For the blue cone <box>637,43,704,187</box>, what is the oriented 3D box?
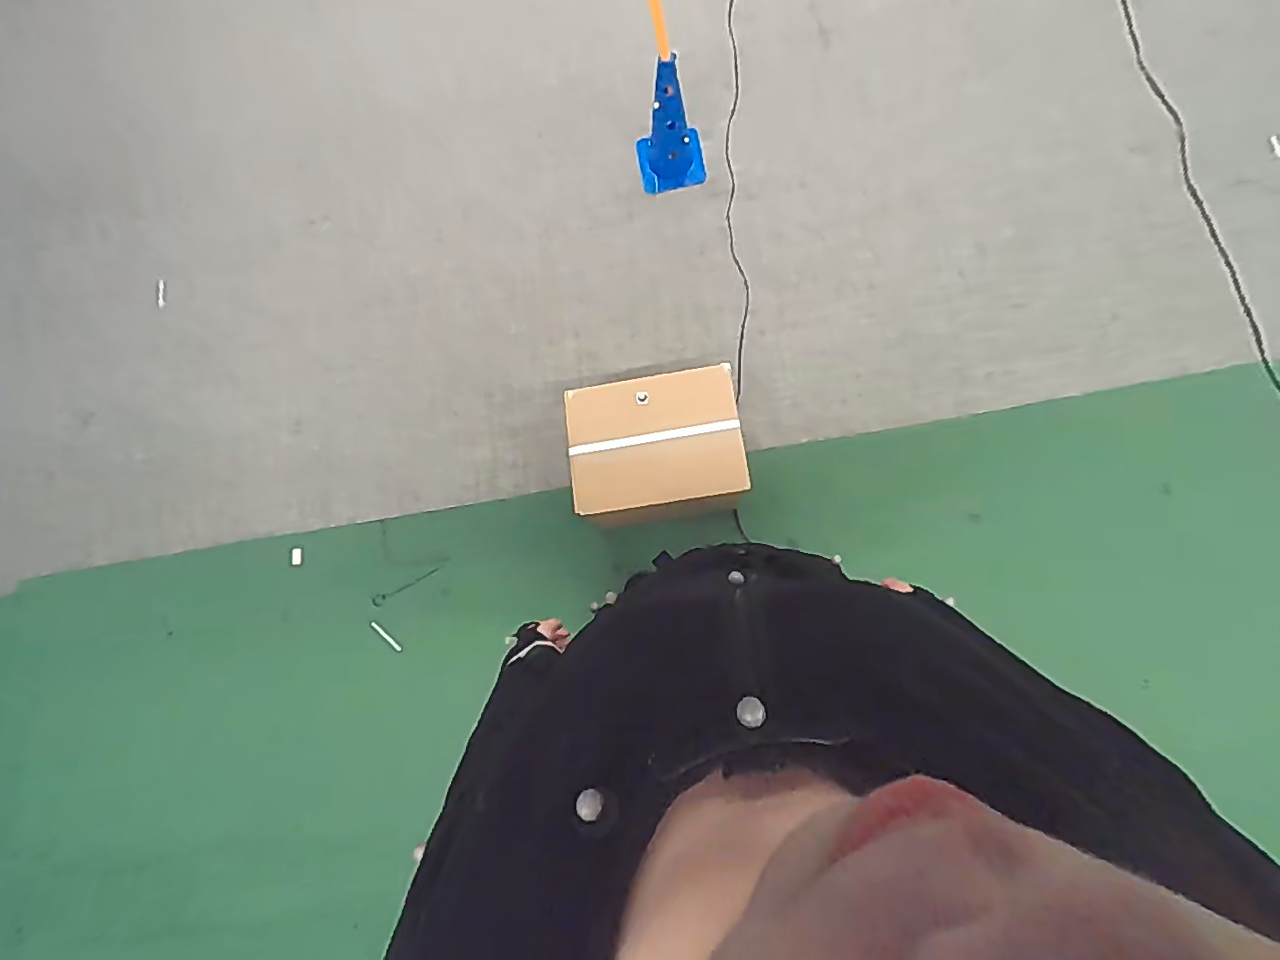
[{"bbox_3d":[0.077,-1.037,1.529,0.193,0.380,0.192,-13,80,4],"label":"blue cone"}]
